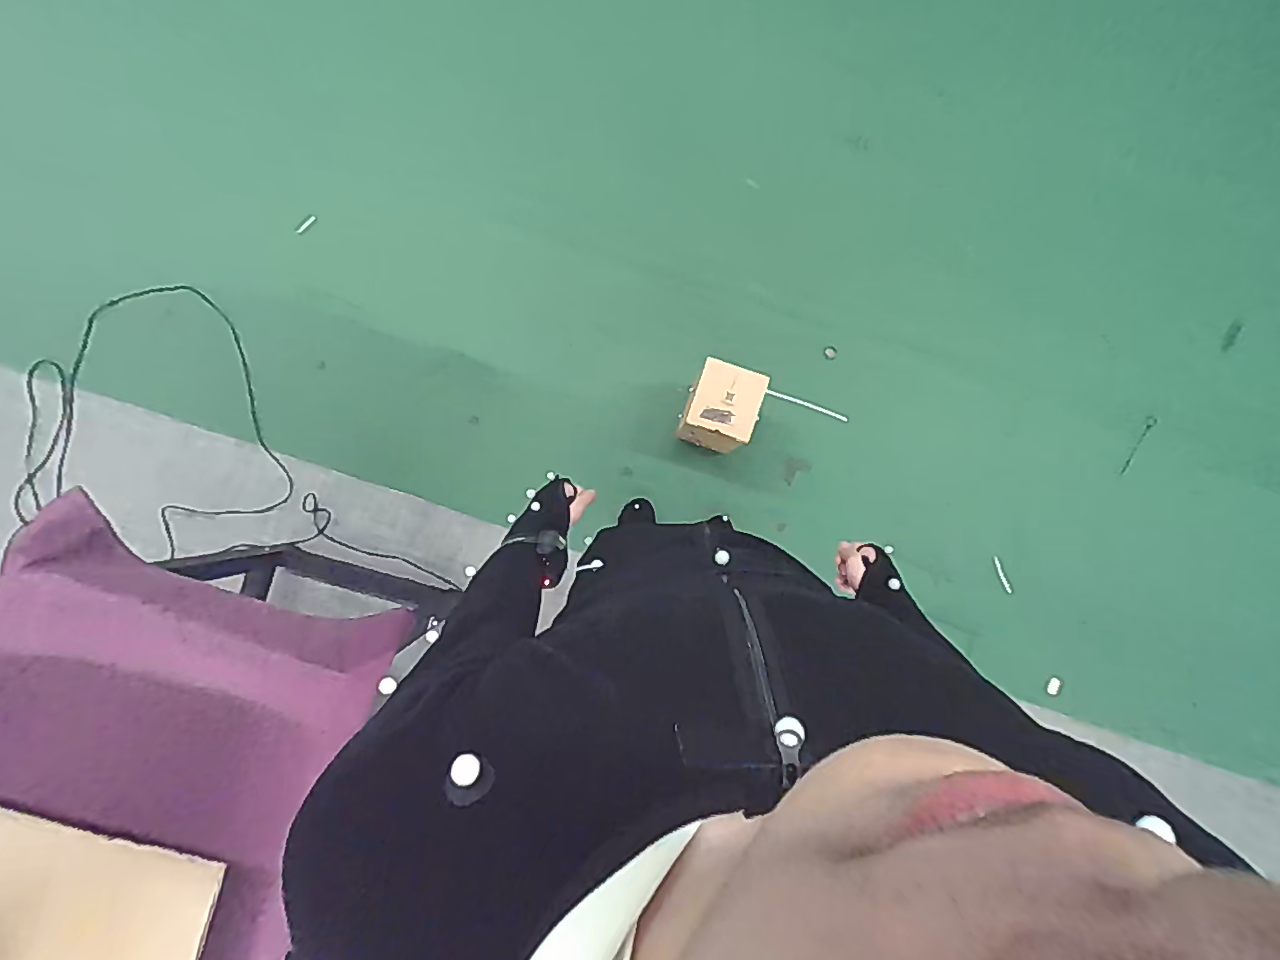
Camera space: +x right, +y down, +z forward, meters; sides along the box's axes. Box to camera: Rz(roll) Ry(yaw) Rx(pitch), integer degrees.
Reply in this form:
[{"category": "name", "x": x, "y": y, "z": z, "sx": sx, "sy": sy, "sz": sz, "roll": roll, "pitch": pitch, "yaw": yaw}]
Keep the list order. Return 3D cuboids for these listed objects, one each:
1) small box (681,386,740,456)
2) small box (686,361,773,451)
[{"category": "small box", "x": 0.224, "y": -0.178, "z": 1.574, "sx": 0.168, "sy": 0.176, "sz": 0.179, "roll": 19, "pitch": 89, "yaw": 0}, {"category": "small box", "x": 0.225, "y": -0.183, "z": 1.411, "sx": 0.168, "sy": 0.176, "sz": 0.179, "roll": 19, "pitch": 87, "yaw": 0}]
